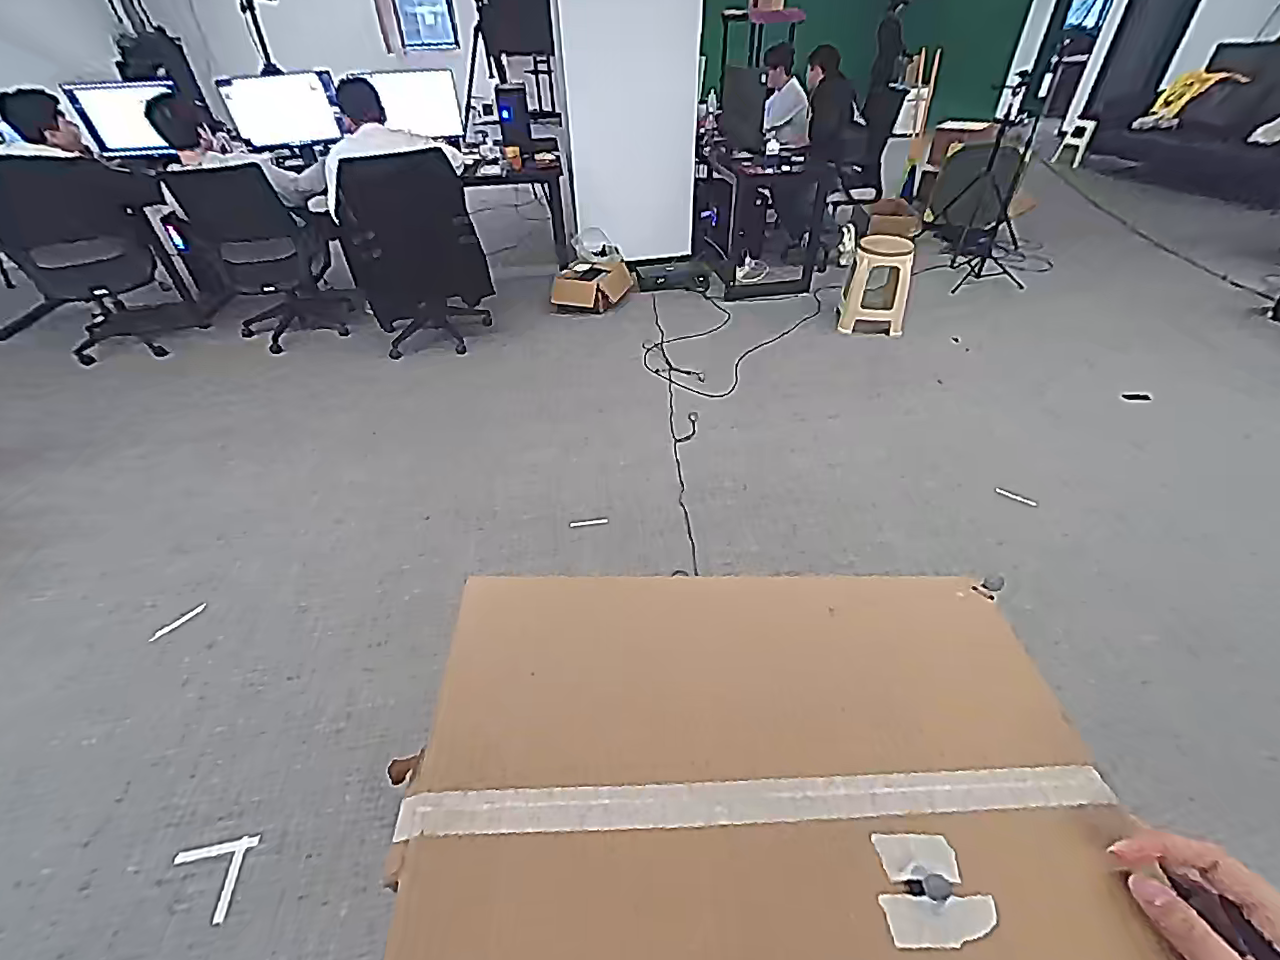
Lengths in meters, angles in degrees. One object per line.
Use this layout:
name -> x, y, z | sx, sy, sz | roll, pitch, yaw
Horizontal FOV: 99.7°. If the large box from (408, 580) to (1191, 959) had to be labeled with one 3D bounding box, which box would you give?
large box -> 0.068, 0.294, 0.423 | 0.408, 0.320, 0.320 | 2, 44, -6
